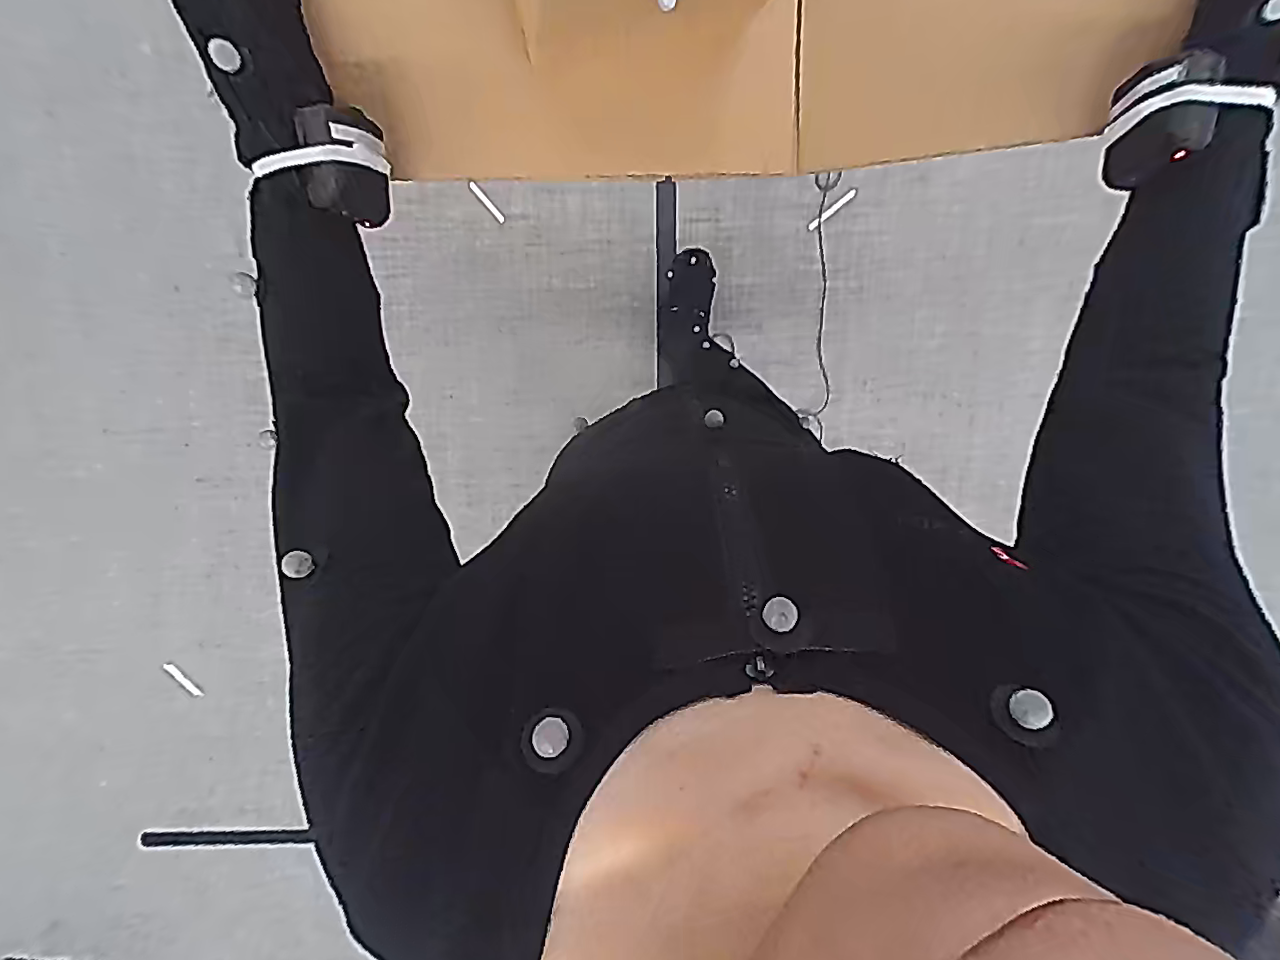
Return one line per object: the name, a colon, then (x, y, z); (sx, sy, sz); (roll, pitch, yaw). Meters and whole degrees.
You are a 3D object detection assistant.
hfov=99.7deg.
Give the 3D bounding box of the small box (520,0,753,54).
small box: (0.004, -0.395, 0.323); (0.179, 0.176, 0.168); (-16, 109, -8)
